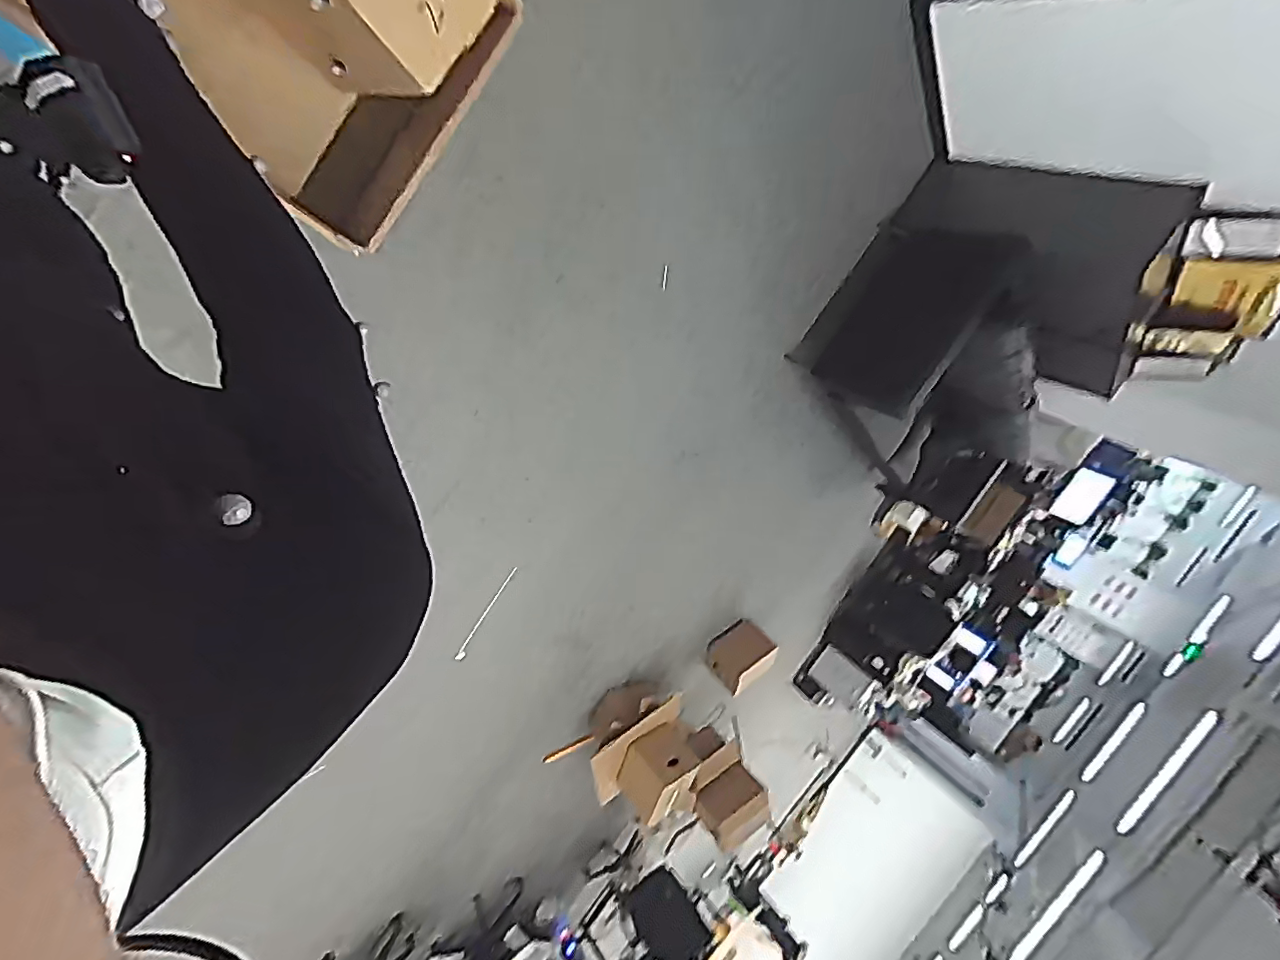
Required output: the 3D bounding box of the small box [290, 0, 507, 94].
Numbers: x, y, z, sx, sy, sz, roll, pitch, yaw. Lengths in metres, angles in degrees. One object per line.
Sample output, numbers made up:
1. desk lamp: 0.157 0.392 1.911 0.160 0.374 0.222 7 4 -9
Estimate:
1. small box: -0.246 -0.500 0.504 0.168 0.176 0.179 -53 142 0
